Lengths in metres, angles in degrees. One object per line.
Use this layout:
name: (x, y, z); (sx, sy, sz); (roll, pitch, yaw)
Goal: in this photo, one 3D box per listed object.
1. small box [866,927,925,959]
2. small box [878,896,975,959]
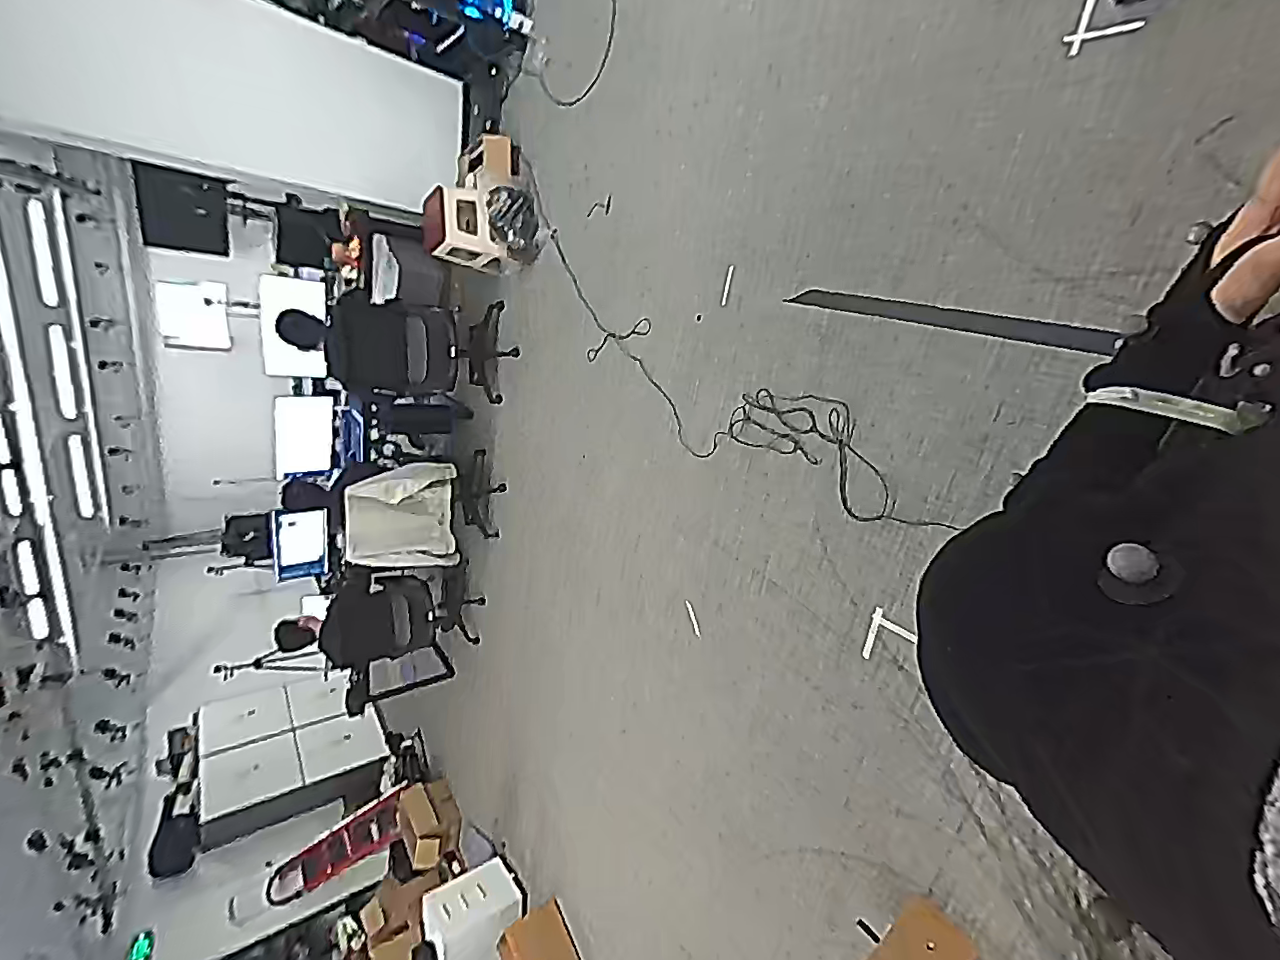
small box: (0.666, 1.326, 1.395); (0.179, 0.176, 0.168); (33, 118, 44)
small box: (0.788, 1.313, 1.504); (0.179, 0.176, 0.168); (30, 117, 45)
